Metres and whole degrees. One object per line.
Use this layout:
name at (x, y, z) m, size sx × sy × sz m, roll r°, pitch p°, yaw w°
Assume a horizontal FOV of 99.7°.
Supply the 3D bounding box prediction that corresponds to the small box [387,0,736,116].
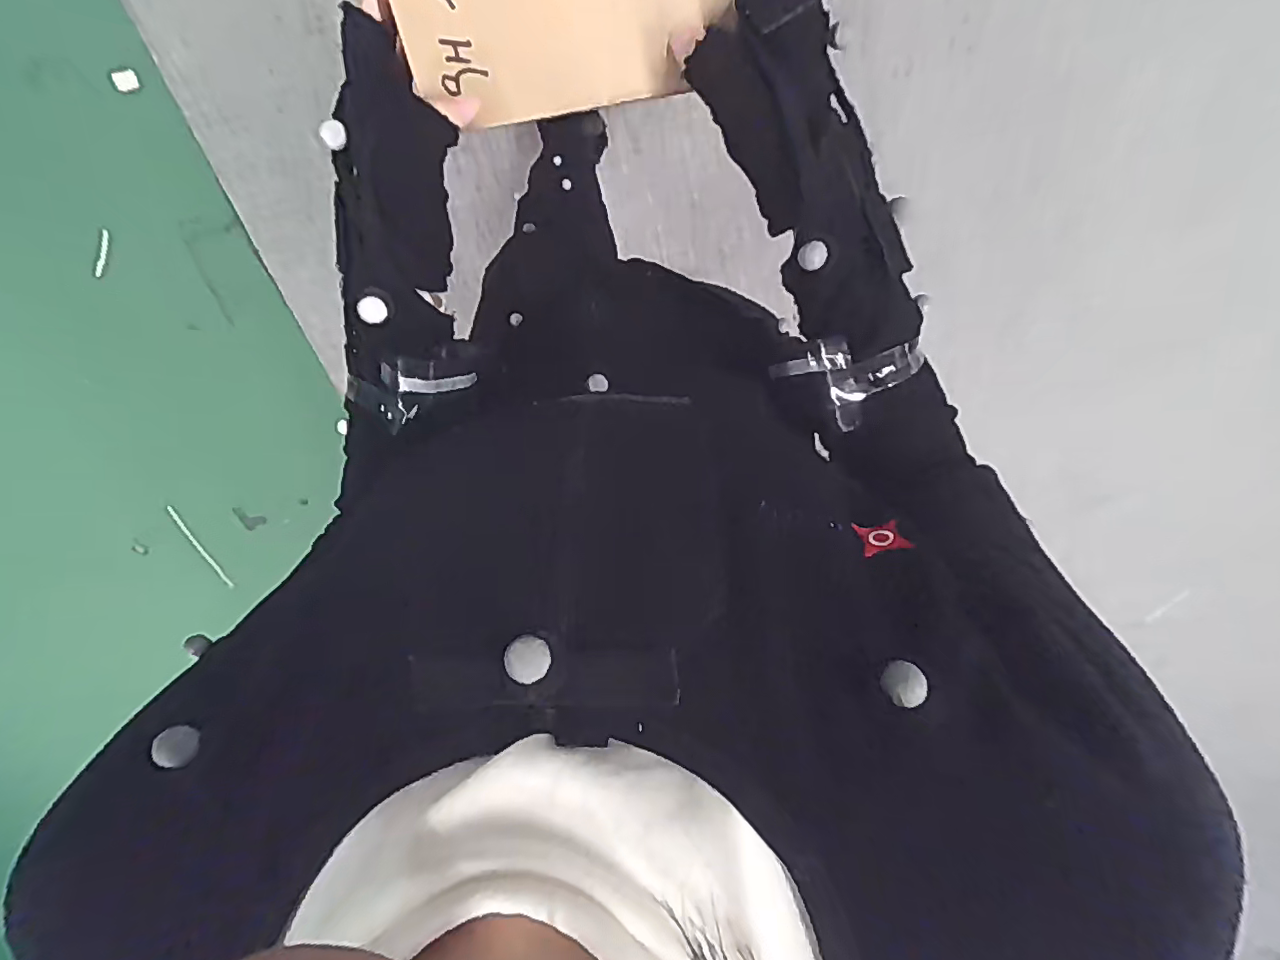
small box at (-0.051, -0.323, 0.313) m, size 0.179 × 0.176 × 0.168 m, roll -9°, pitch 124°, yaw 1°
